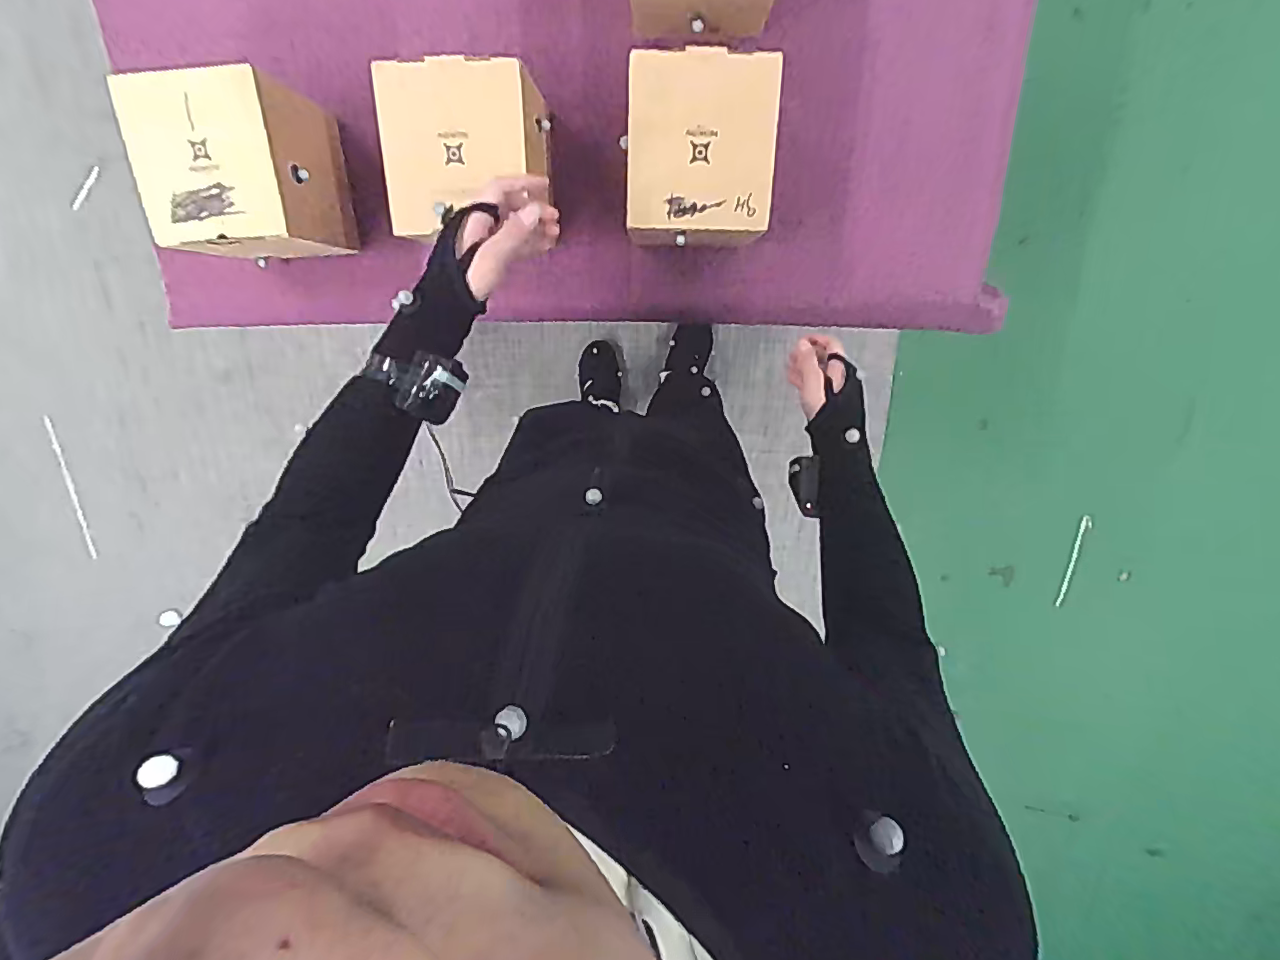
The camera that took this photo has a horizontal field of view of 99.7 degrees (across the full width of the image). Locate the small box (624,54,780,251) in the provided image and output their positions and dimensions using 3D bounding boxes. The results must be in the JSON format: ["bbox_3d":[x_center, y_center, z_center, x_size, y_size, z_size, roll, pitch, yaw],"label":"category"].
[{"bbox_3d":[0.069,-0.394,0.679,0.168,0.176,0.179,3,107,3],"label":"small box"}]

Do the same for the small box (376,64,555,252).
[{"bbox_3d":[-0.208,-0.395,0.692,0.168,0.176,0.179,1,109,3],"label":"small box"}]

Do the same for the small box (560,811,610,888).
[{"bbox_3d":[-0.202,1.393,2.042,0.168,0.176,0.179,0,107,2],"label":"small box"}]

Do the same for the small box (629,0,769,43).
[{"bbox_3d":[0.069,-0.630,0.601,0.168,0.176,0.179,2,109,3],"label":"small box"}]

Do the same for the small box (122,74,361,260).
[{"bbox_3d":[-0.494,-0.388,0.704,0.168,0.176,0.179,-3,106,3],"label":"small box"}]
